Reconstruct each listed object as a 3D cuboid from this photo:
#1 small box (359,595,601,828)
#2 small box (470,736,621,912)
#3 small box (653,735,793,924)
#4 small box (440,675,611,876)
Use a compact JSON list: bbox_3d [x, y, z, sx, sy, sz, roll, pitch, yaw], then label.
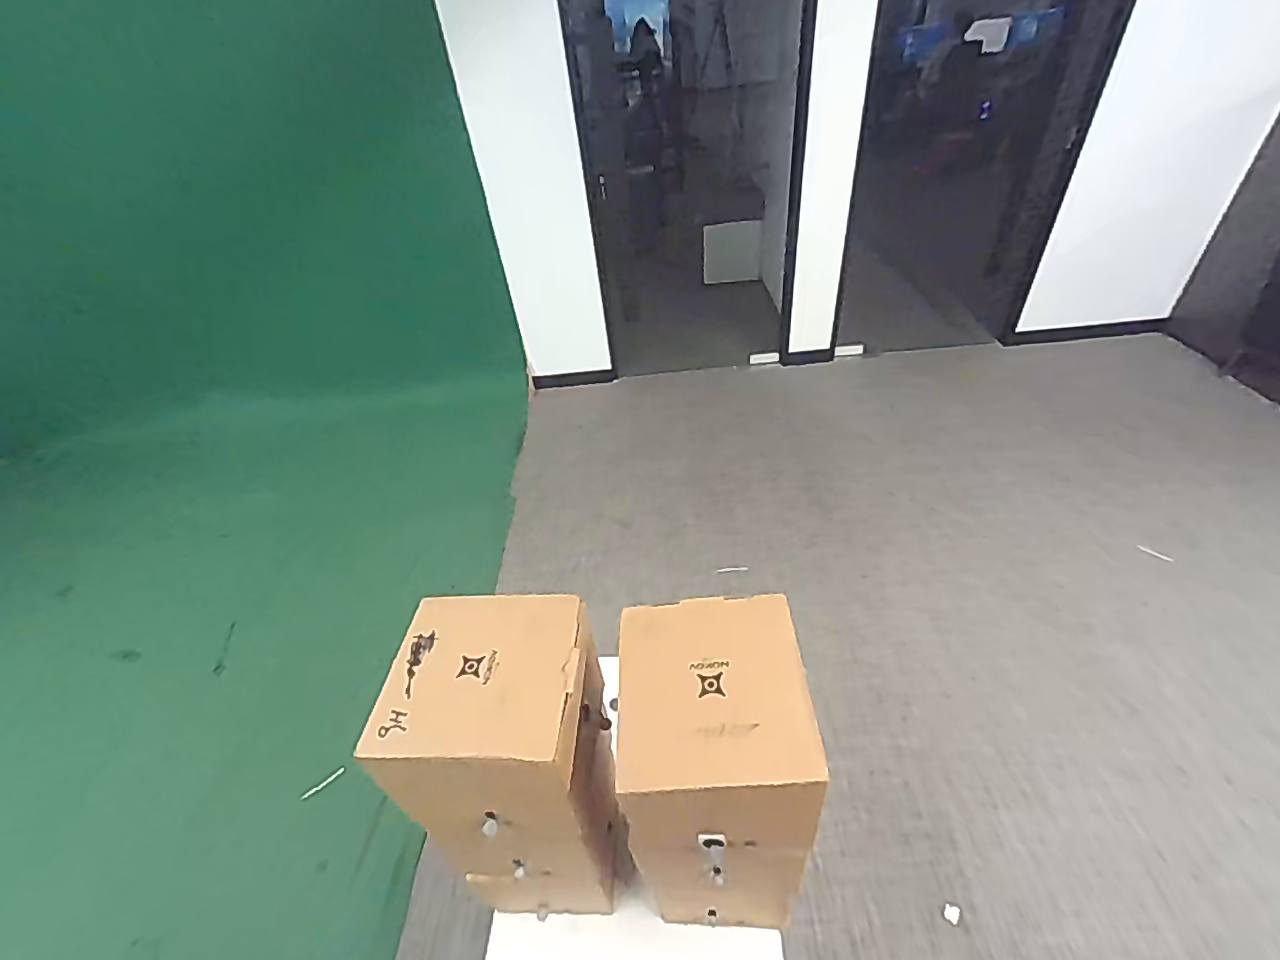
[{"bbox_3d":[-0.140,0.237,0.556,0.179,0.176,0.168,-1,40,5],"label":"small box"},{"bbox_3d":[-0.120,0.484,0.771,0.168,0.176,0.179,-2,41,5],"label":"small box"},{"bbox_3d":[0.110,0.477,0.744,0.168,0.176,0.179,-3,41,7],"label":"small box"},{"bbox_3d":[-0.130,0.357,0.668,0.168,0.176,0.179,-2,40,6],"label":"small box"}]
